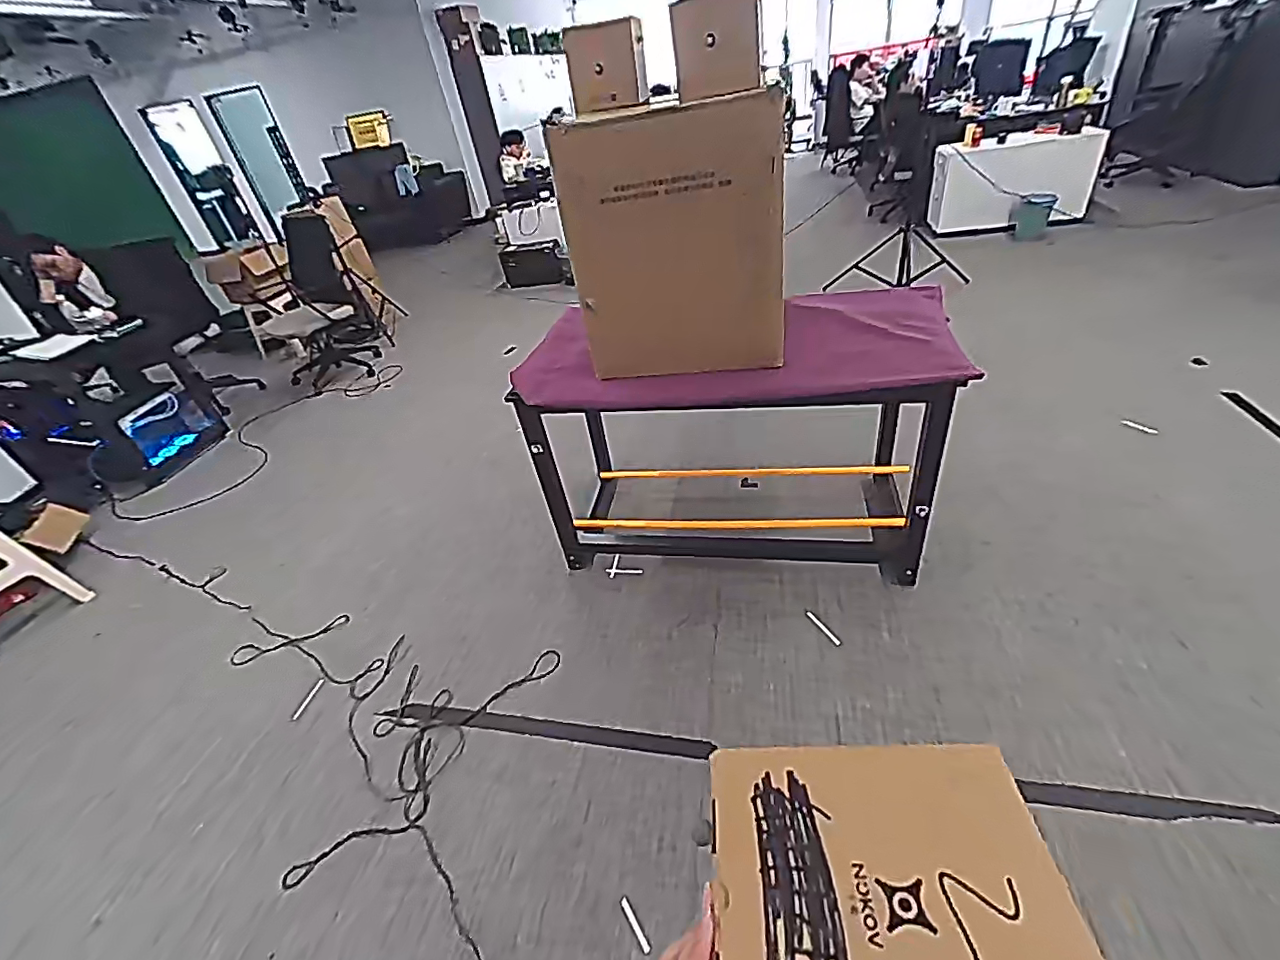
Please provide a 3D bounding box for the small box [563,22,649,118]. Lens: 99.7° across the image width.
[{"bbox_3d":[-0.075,-1.011,1.340,0.168,0.176,0.179,0,38,12],"label":"small box"}]
